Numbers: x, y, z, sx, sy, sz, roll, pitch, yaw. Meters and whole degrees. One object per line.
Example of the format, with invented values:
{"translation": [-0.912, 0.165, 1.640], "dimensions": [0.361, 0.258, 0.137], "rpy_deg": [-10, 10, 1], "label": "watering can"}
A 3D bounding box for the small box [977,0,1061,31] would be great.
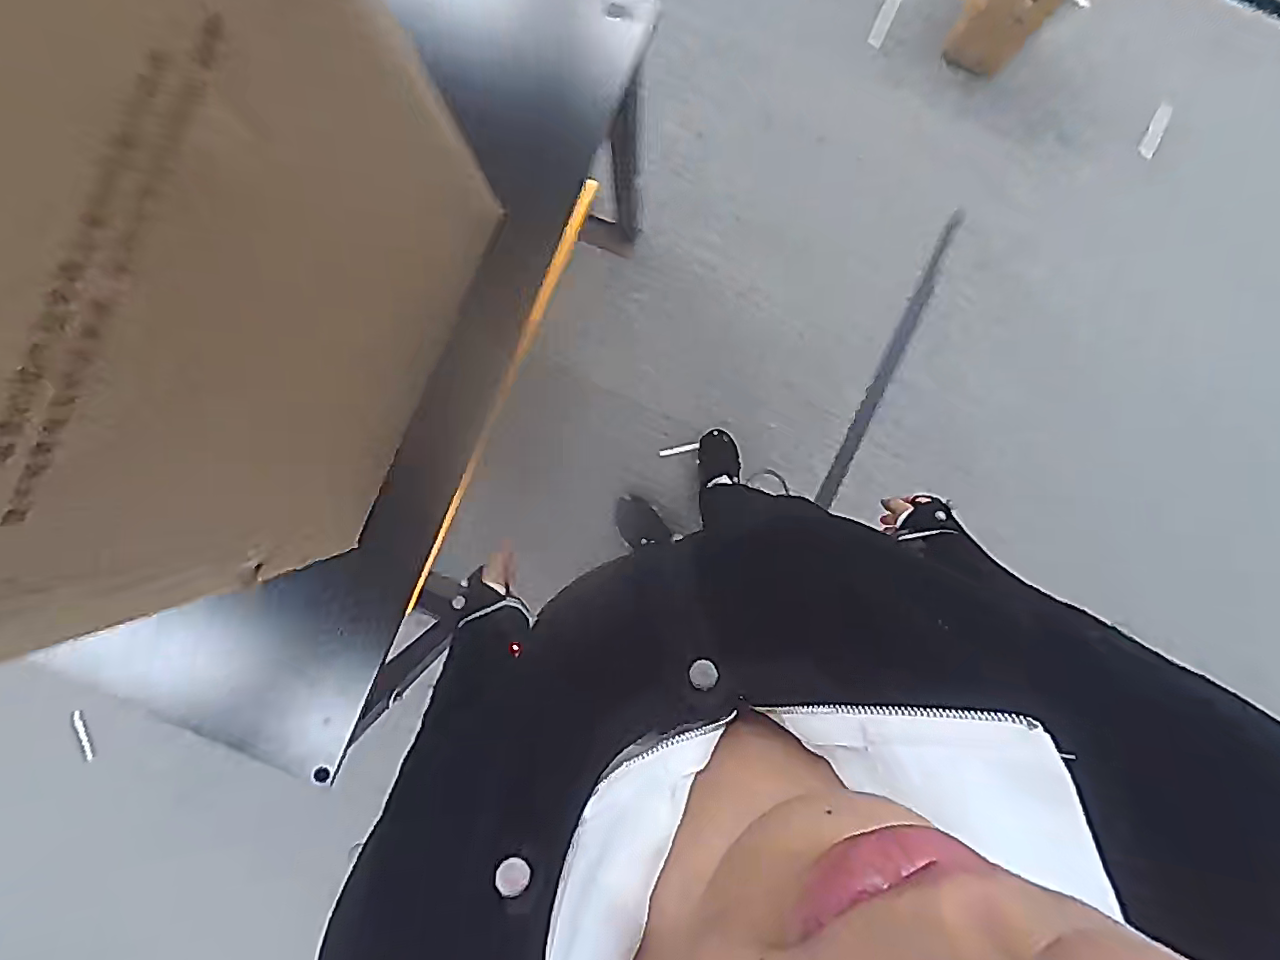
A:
{"translation": [0.897, -1.174, 1.213], "dimensions": [0.168, 0.176, 0.179], "rpy_deg": [22, 93, -1], "label": "small box"}

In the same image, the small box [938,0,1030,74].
{"translation": [0.899, -1.198, 1.376], "dimensions": [0.168, 0.176, 0.179], "rpy_deg": [21, 93, 0], "label": "small box"}
